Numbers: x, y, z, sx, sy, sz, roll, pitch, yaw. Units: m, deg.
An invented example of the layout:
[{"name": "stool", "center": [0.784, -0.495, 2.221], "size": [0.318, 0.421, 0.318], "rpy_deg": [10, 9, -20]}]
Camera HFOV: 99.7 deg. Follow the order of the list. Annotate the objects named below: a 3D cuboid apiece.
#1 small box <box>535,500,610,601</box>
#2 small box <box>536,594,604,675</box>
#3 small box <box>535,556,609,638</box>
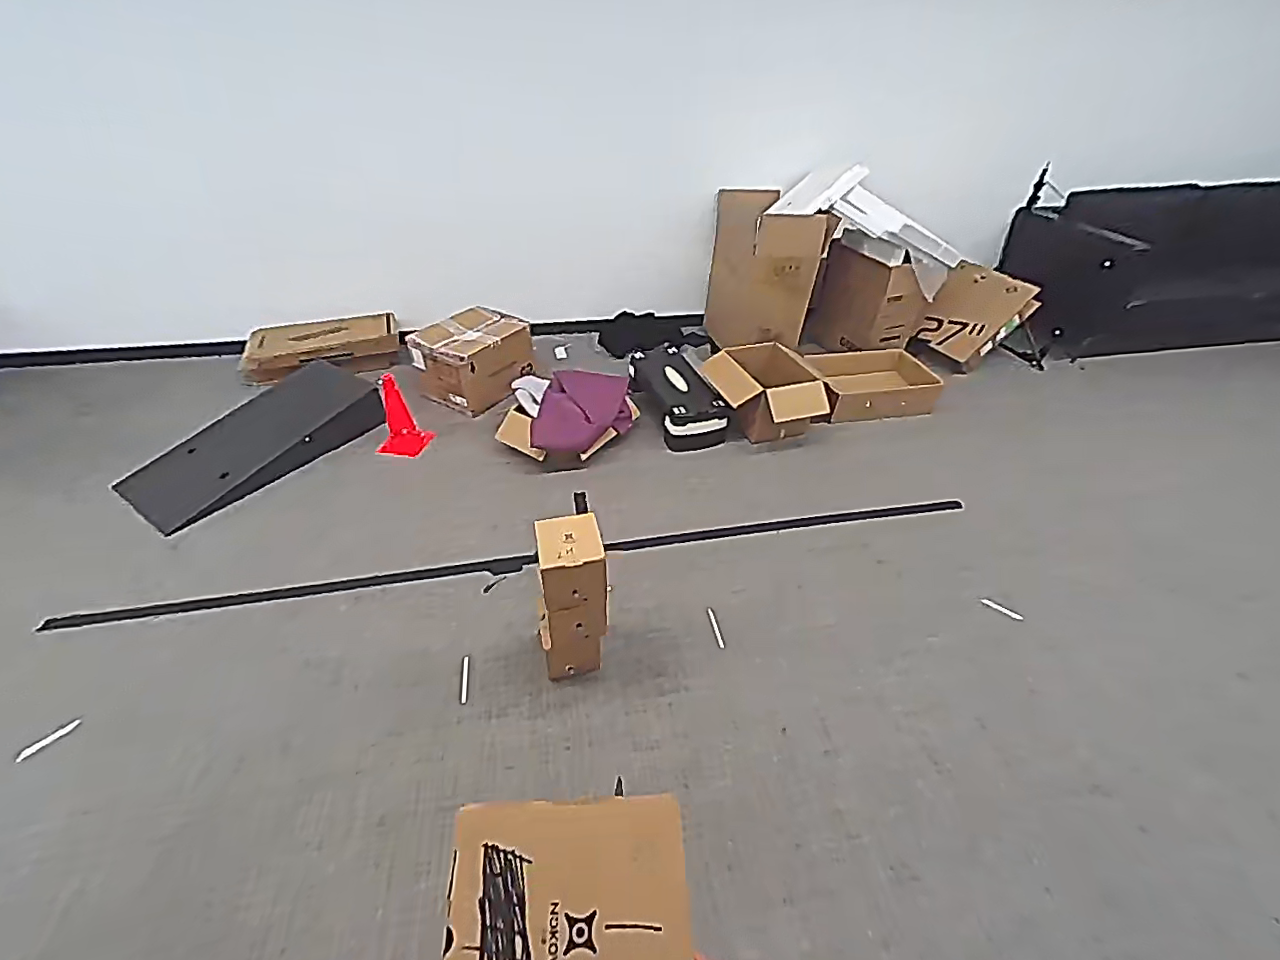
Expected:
[{"name": "small box", "center": [-0.172, 0.178, 1.373], "size": [0.168, 0.176, 0.179], "rpy_deg": [-9, 41, -11]}, {"name": "small box", "center": [-0.205, 0.436, 1.577], "size": [0.168, 0.176, 0.179], "rpy_deg": [-11, 43, -14]}, {"name": "small box", "center": [-0.183, 0.308, 1.475], "size": [0.168, 0.176, 0.179], "rpy_deg": [-12, 42, -15]}]
